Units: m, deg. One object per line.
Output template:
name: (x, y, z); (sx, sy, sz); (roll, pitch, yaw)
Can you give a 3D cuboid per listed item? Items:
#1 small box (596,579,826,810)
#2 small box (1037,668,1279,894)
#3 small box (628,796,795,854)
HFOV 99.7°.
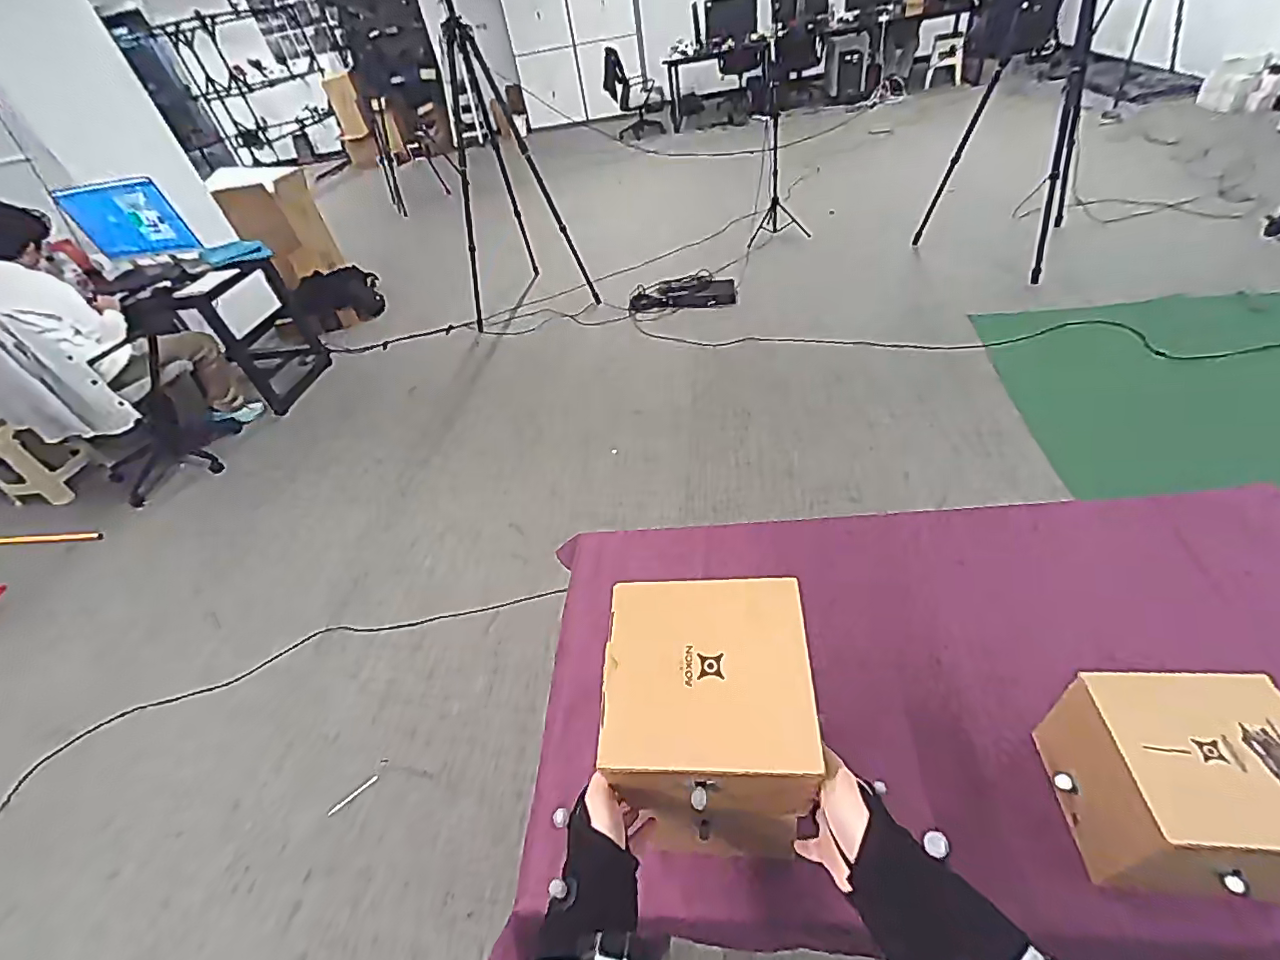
small box: (0.069, 0.207, 0.515); (0.179, 0.176, 0.168); (-5, 51, 10)
small box: (0.571, 0.317, 0.572); (0.179, 0.176, 0.168); (-4, 43, 11)
small box: (0.095, 0.339, 0.663); (0.179, 0.176, 0.168); (-3, 44, 11)
